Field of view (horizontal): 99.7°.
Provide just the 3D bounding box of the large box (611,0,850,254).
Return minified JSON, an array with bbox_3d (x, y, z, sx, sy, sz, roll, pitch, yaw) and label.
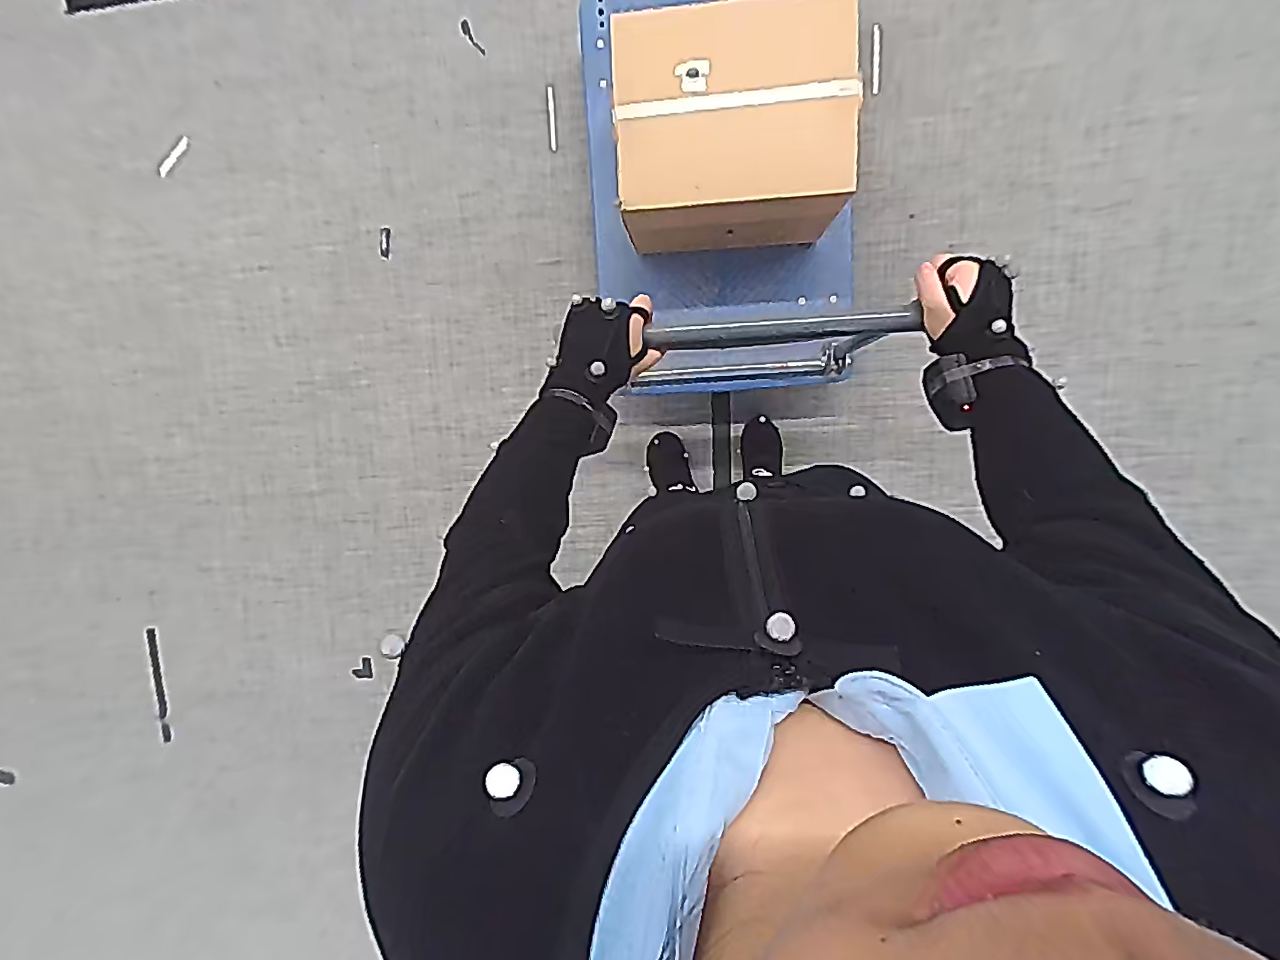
[{"bbox_3d":[0.173,-0.661,1.077,0.408,0.320,0.320,-2,98,7],"label":"large box"}]
